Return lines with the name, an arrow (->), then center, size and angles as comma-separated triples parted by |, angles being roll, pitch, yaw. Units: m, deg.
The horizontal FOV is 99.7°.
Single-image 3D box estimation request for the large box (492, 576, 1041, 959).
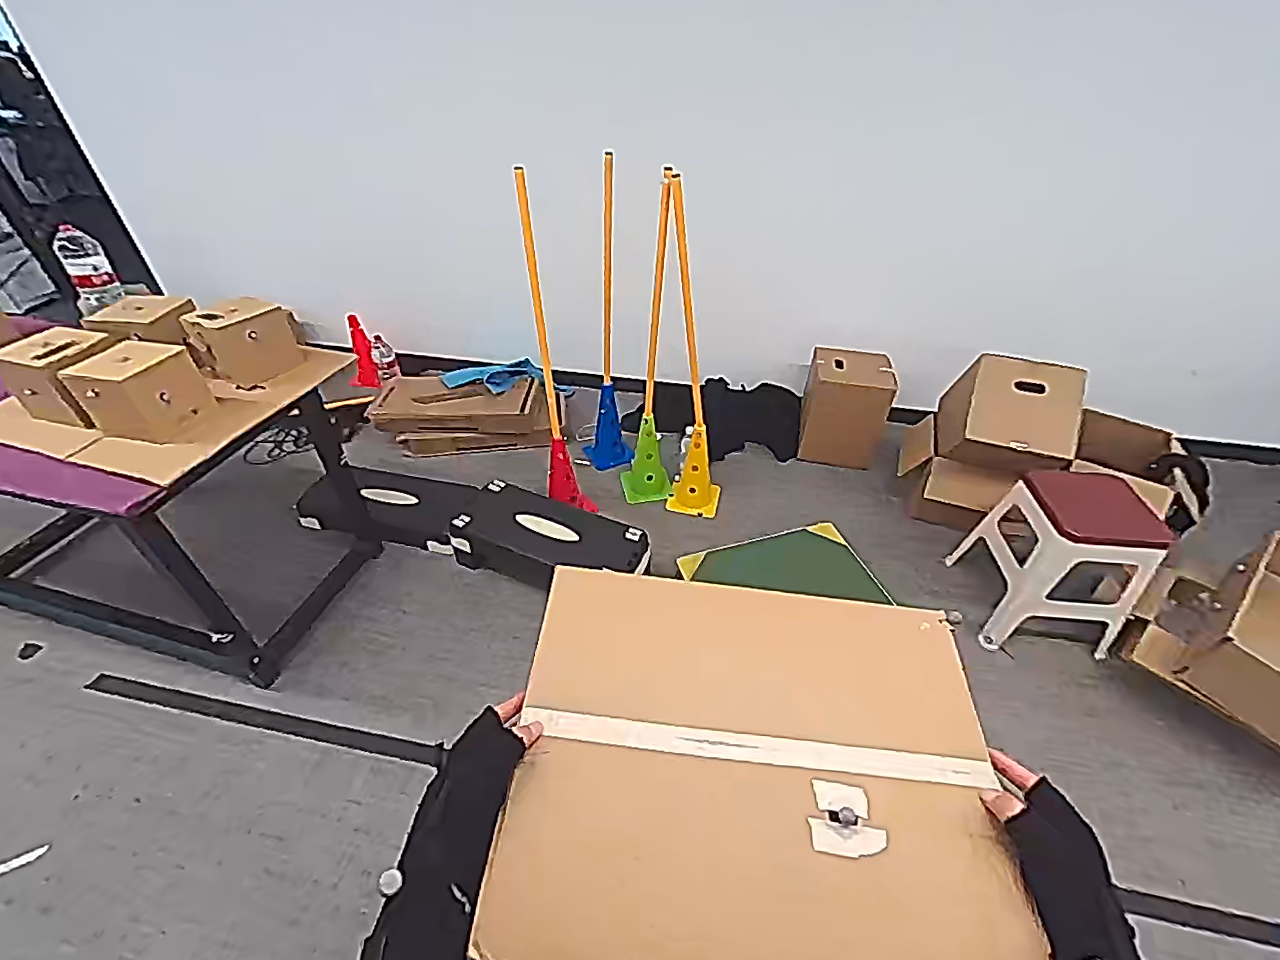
large box -> 0.092, 0.332, 0.585 | 0.408, 0.320, 0.320 | 6, 49, 1
